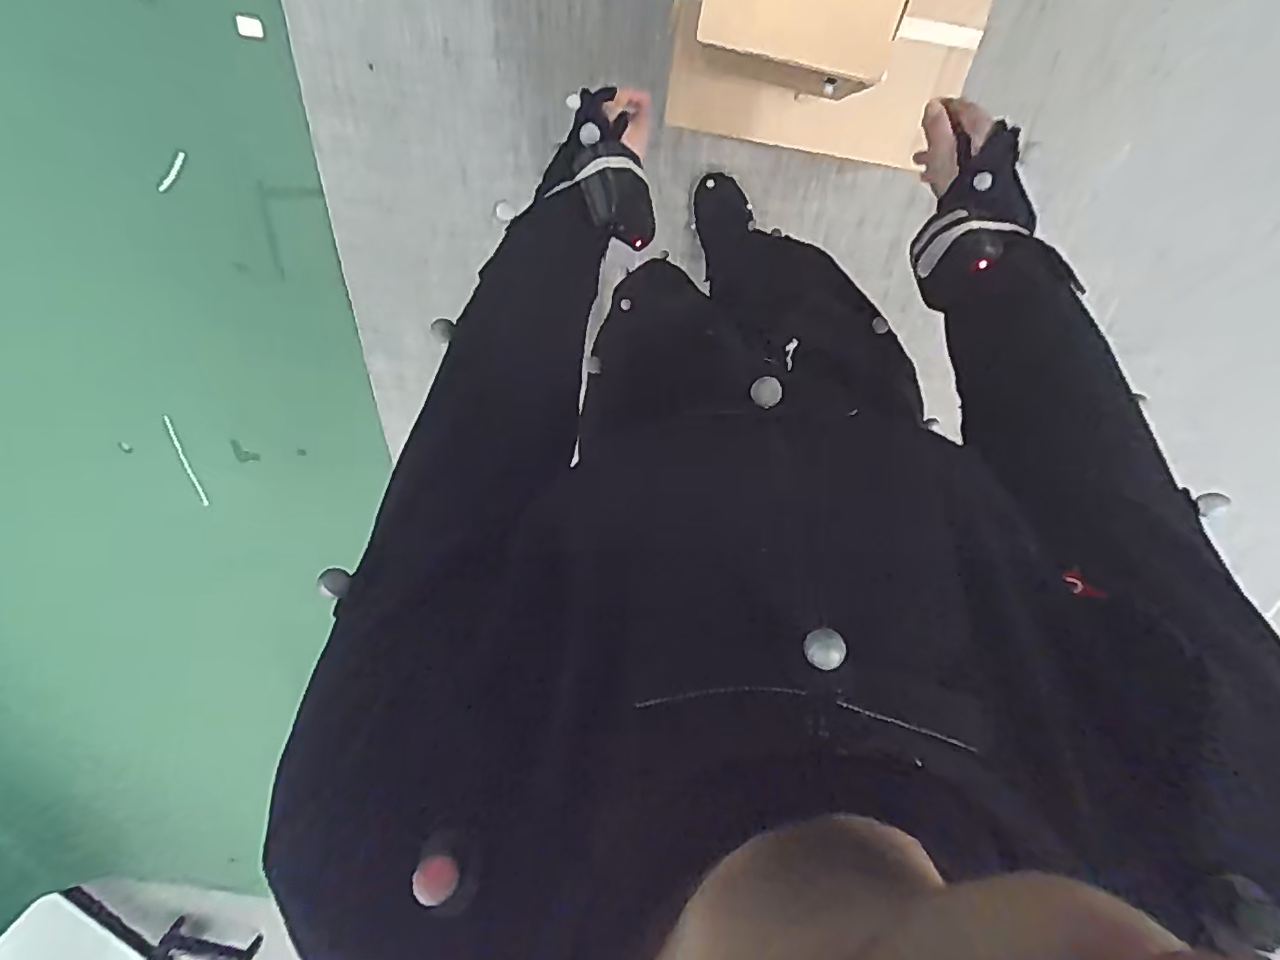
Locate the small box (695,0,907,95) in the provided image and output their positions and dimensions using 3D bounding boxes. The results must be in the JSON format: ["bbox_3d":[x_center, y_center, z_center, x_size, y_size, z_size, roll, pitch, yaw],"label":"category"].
[{"bbox_3d":[0.154,-0.485,0.513,0.179,0.176,0.168,11,121,-2],"label":"small box"}]

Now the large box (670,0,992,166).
[{"bbox_3d":[0.266,-0.700,0.846,0.408,0.320,0.320,9,123,-1],"label":"large box"}]

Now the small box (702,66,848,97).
[{"bbox_3d":[0.175,-0.574,0.647,0.179,0.176,0.168,10,121,1],"label":"small box"}]
